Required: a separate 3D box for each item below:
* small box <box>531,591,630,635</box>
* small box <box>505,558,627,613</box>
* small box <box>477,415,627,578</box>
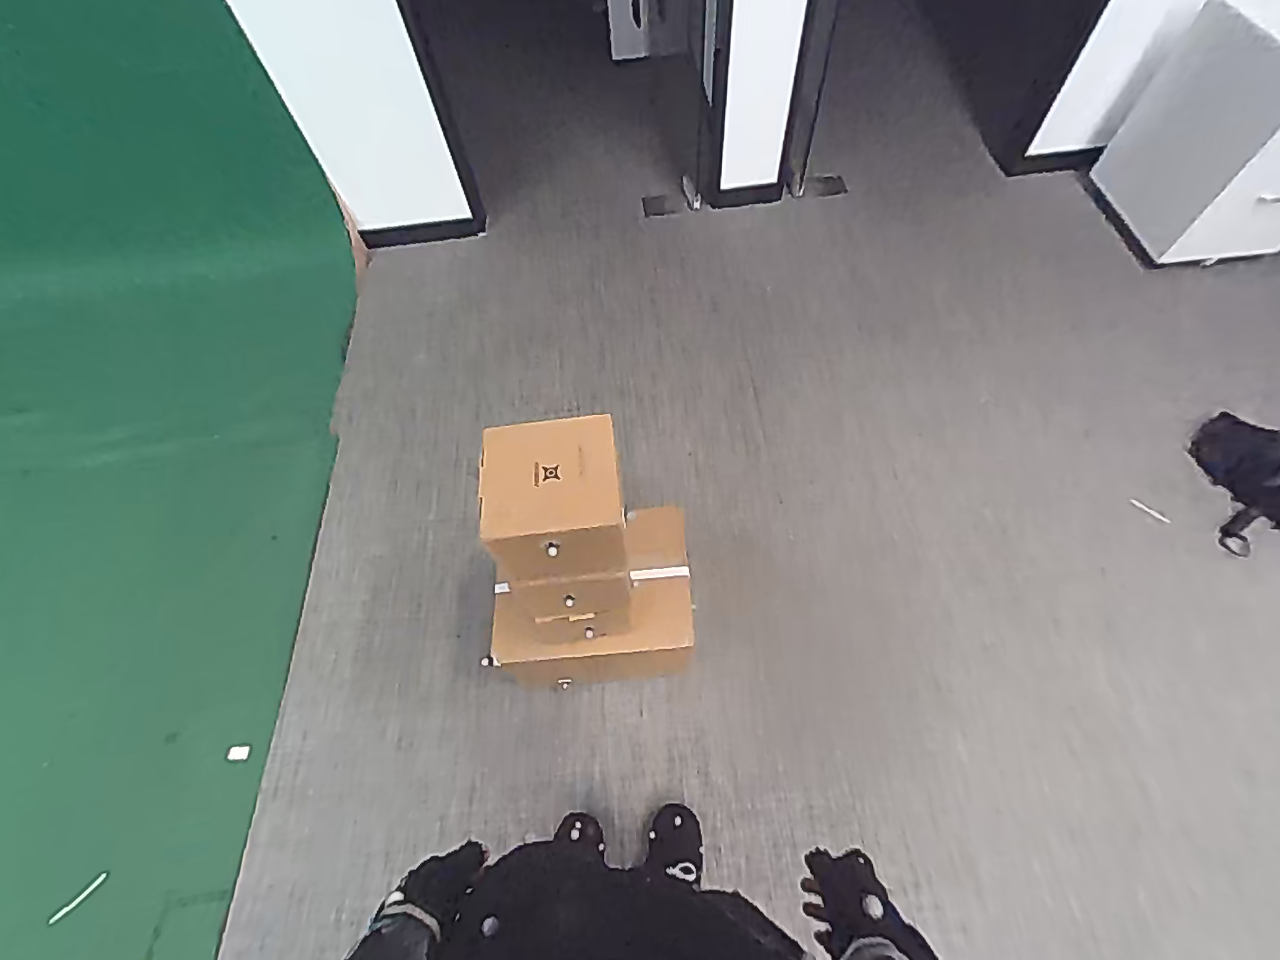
[{"bbox_3d":[-0.114,0.193,1.044,0.168,0.176,0.179,-8,62,-1],"label":"small box"},{"bbox_3d":[-0.114,0.114,0.899,0.179,0.176,0.168,-6,61,1],"label":"small box"},{"bbox_3d":[-0.116,0.030,0.760,0.179,0.176,0.168,-6,62,-2],"label":"small box"}]
